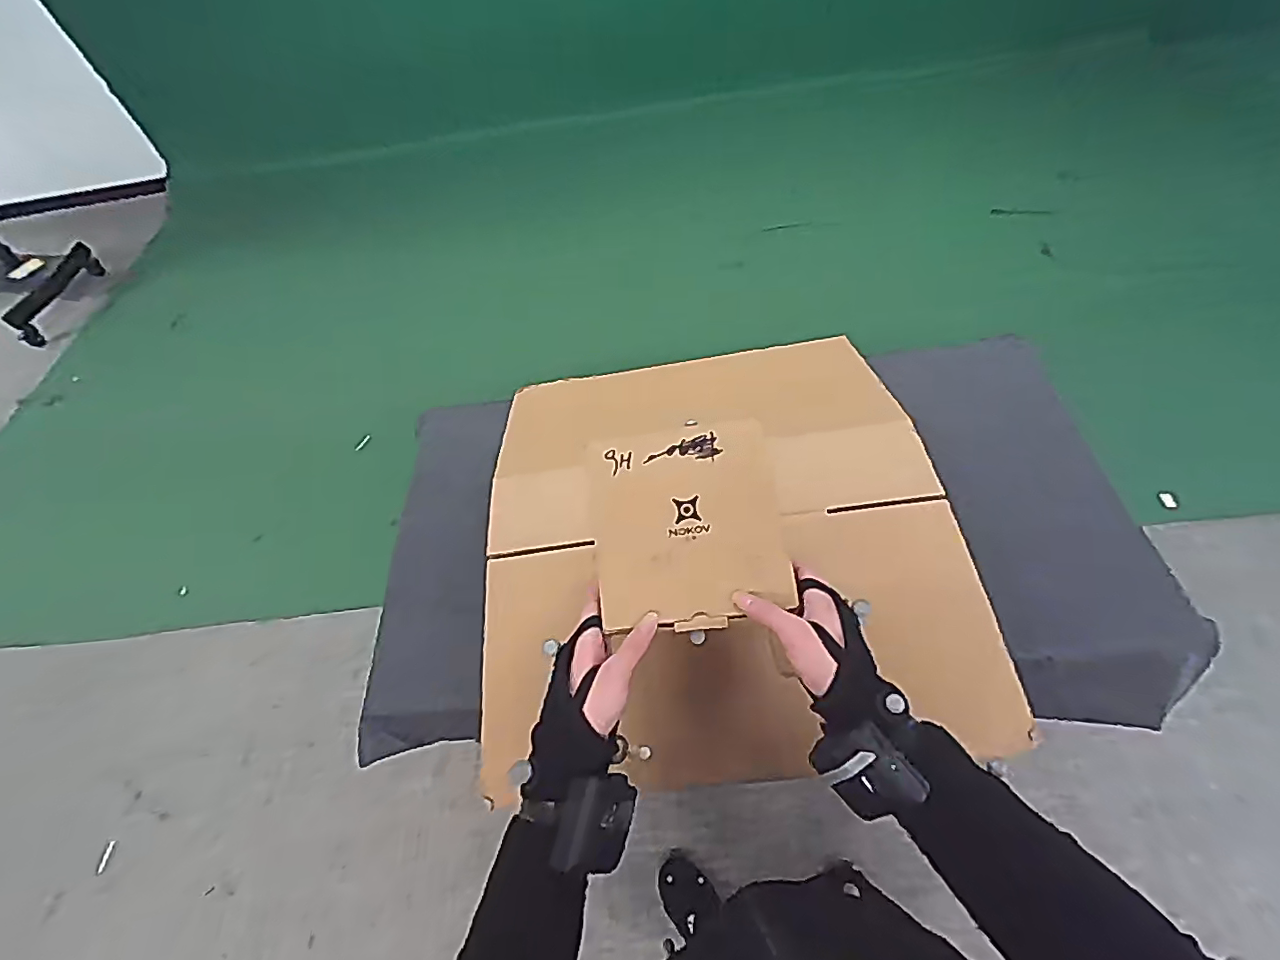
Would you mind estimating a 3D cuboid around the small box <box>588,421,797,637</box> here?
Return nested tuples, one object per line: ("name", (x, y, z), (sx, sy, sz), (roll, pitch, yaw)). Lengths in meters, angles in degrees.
("small box", (0.049, 0.061, 0.557), (0.168, 0.176, 0.179), (-9, 72, 2))
